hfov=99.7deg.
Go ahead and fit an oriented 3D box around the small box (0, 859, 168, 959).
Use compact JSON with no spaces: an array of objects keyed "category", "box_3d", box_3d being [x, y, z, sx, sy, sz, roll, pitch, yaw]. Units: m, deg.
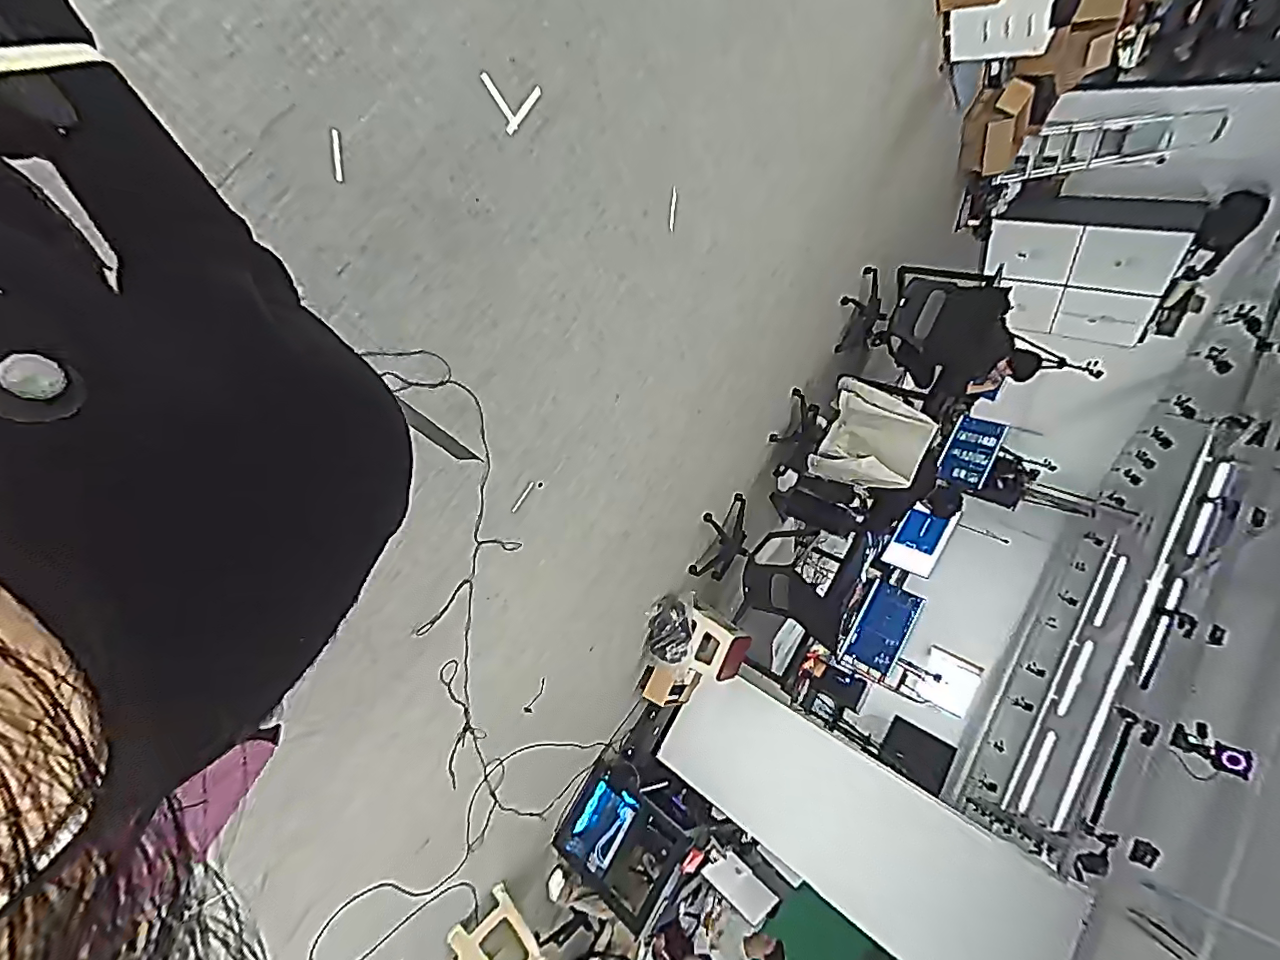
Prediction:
[{"category":"small box","box_3d":[-0.728,0.592,0.643,0.179,0.176,0.168,-60,146,-7]}]
